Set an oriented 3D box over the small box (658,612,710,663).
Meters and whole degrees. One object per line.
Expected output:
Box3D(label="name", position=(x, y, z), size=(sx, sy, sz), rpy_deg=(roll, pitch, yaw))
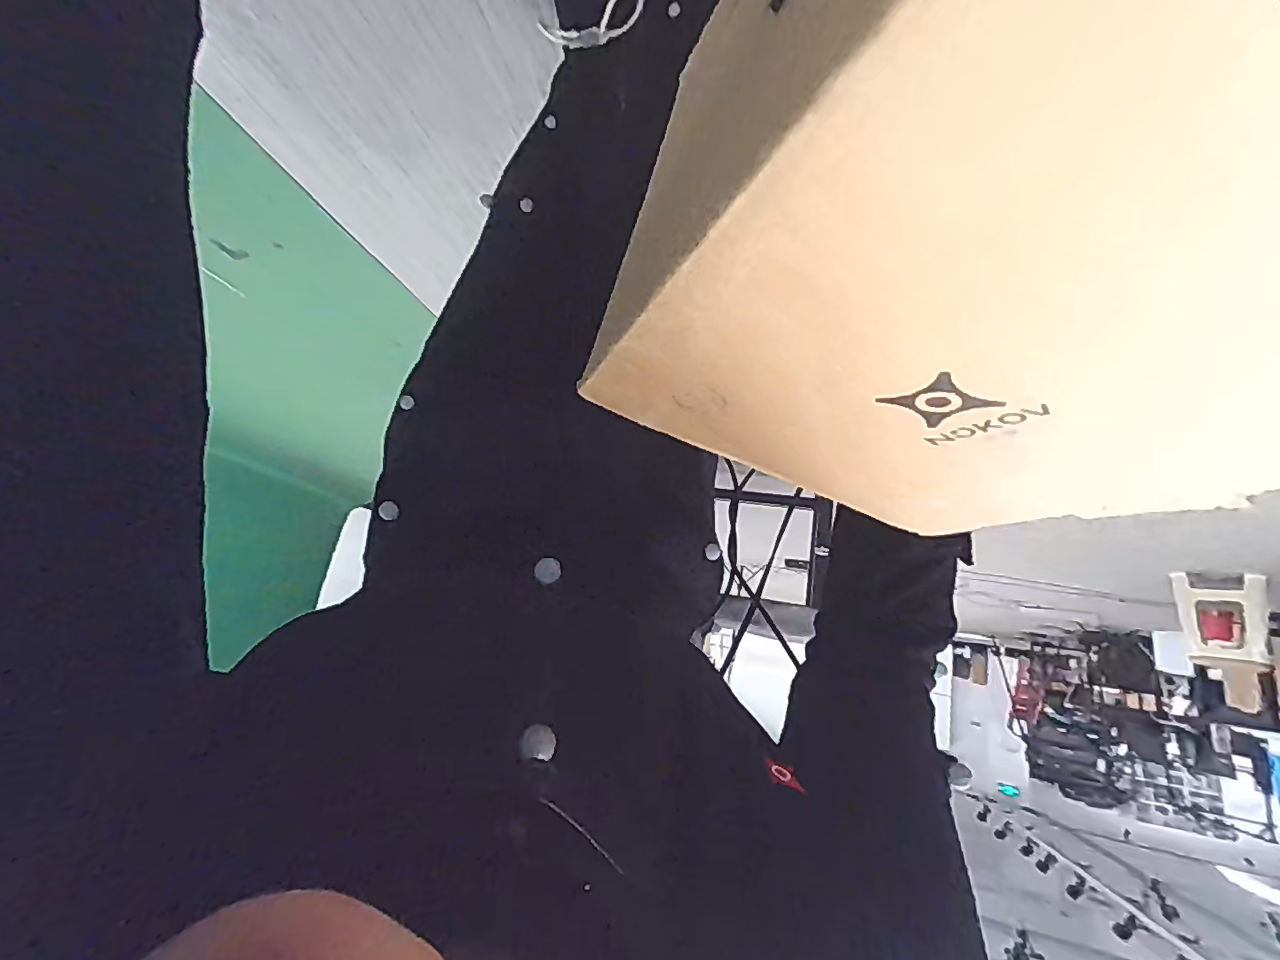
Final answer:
Box3D(label="small box", position=(0.179, 0.620, 2.124), size=(0.168, 0.176, 0.179), rpy_deg=(5, 163, 16))
